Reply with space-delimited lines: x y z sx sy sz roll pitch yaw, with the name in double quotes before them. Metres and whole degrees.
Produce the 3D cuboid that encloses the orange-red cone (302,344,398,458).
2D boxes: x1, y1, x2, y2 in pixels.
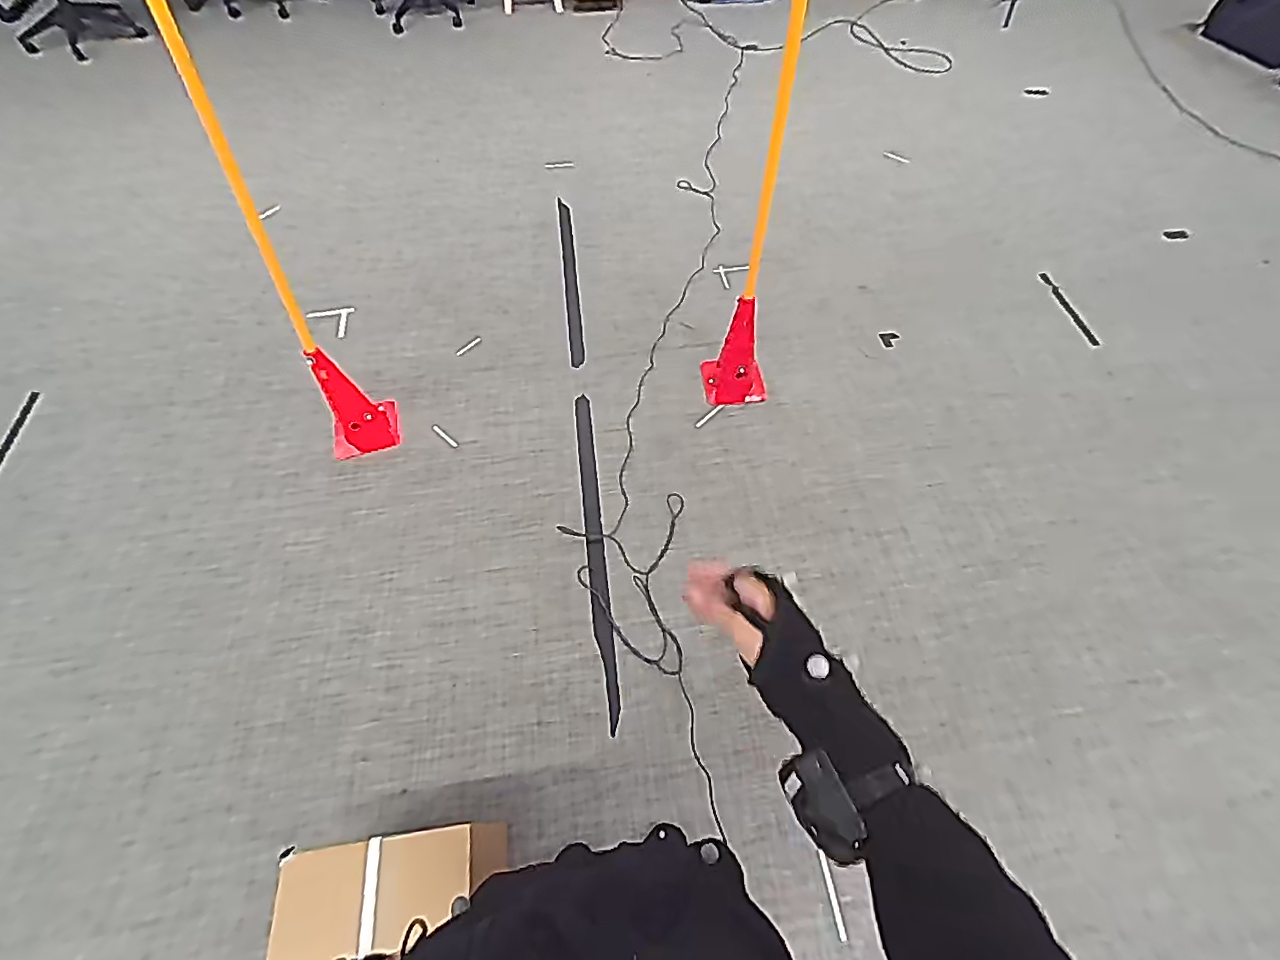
"orange-red cone" -0.884 -0.255 1.590 0.199 0.360 0.198 -15 59 -7
